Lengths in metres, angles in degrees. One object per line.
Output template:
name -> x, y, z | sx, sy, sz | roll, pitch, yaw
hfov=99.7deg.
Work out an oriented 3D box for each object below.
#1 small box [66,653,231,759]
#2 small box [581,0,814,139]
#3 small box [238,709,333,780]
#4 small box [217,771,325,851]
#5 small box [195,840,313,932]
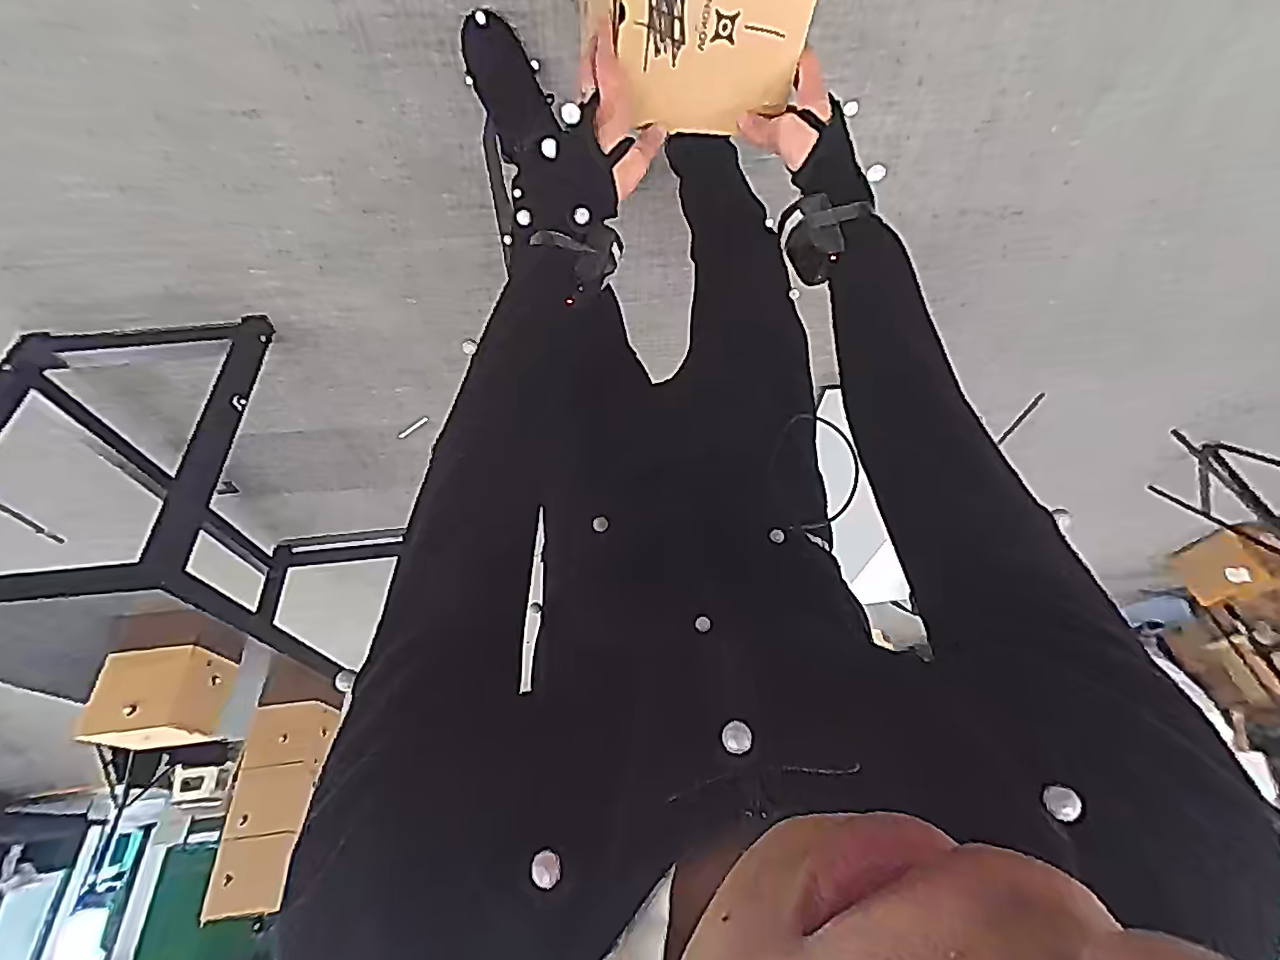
small box -> -1.032, 0.483, 1.157 | 0.179, 0.176, 0.168 | -6, 146, -5
small box -> 0.043, -0.443, 0.504 | 0.179, 0.176, 0.168 | -6, 140, -14
small box -> -1.034, 0.787, 1.599 | 0.179, 0.176, 0.168 | -7, 146, -4
small box -> -1.016, 0.922, 1.506 | 0.179, 0.176, 0.168 | -6, 146, -4
small box -> -0.996, 1.054, 1.414 | 0.179, 0.176, 0.168 | -6, 147, -4
